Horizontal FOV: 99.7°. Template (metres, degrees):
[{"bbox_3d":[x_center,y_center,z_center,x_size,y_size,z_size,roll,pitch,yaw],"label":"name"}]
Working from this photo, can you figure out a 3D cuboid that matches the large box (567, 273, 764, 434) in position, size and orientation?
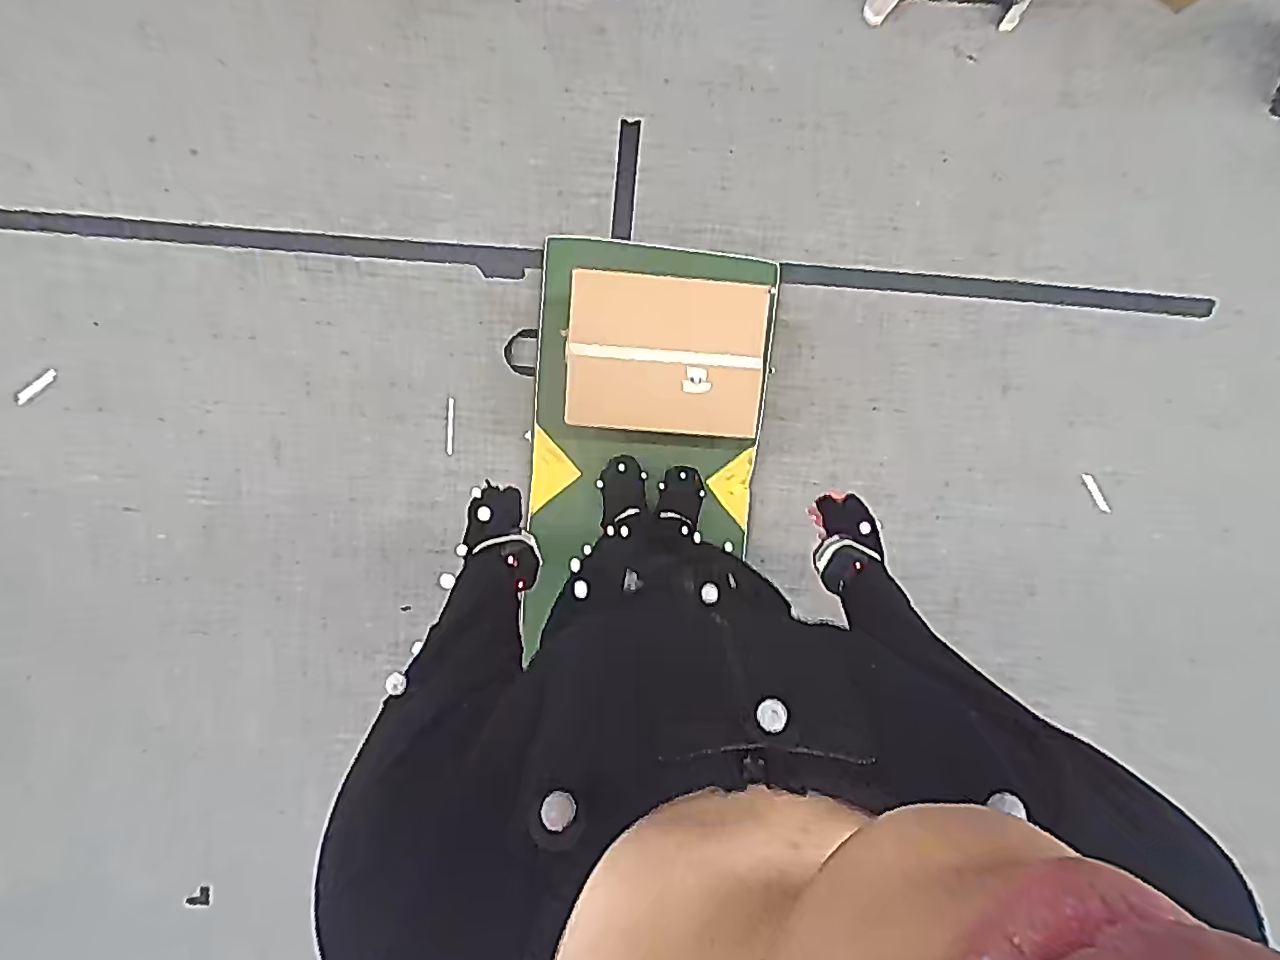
[{"bbox_3d":[0.043,-0.278,1.272,0.408,0.320,0.320,3,99,-3],"label":"large box"}]
